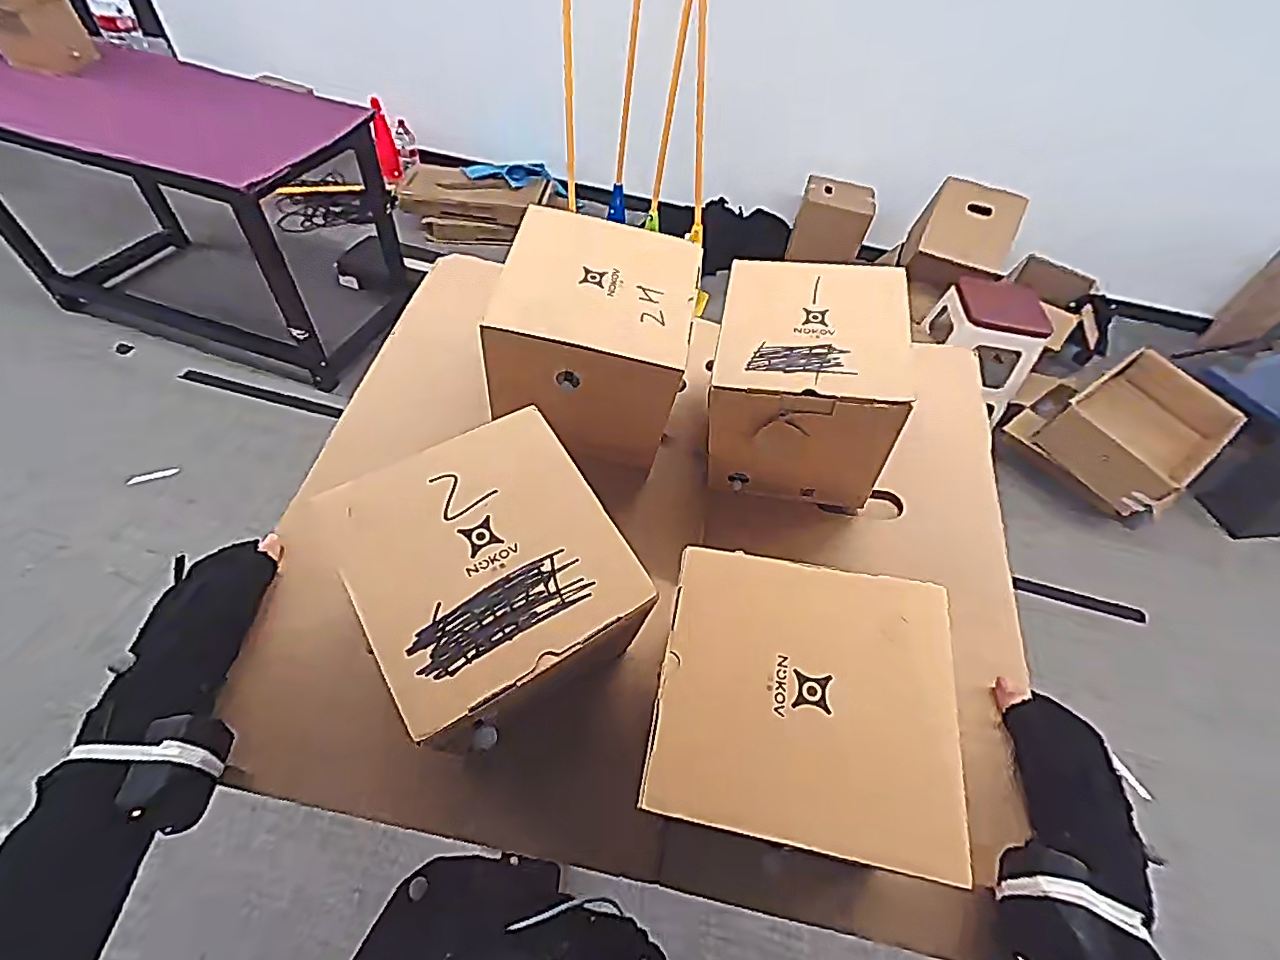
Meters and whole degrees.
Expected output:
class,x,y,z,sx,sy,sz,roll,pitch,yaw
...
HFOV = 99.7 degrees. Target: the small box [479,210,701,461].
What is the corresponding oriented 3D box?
class,x,y,z,sx,sy,sz,roll,pitch,yaw
small box,-0.050,-0.139,0.561,0.179,0.176,0.168,13,60,-4
